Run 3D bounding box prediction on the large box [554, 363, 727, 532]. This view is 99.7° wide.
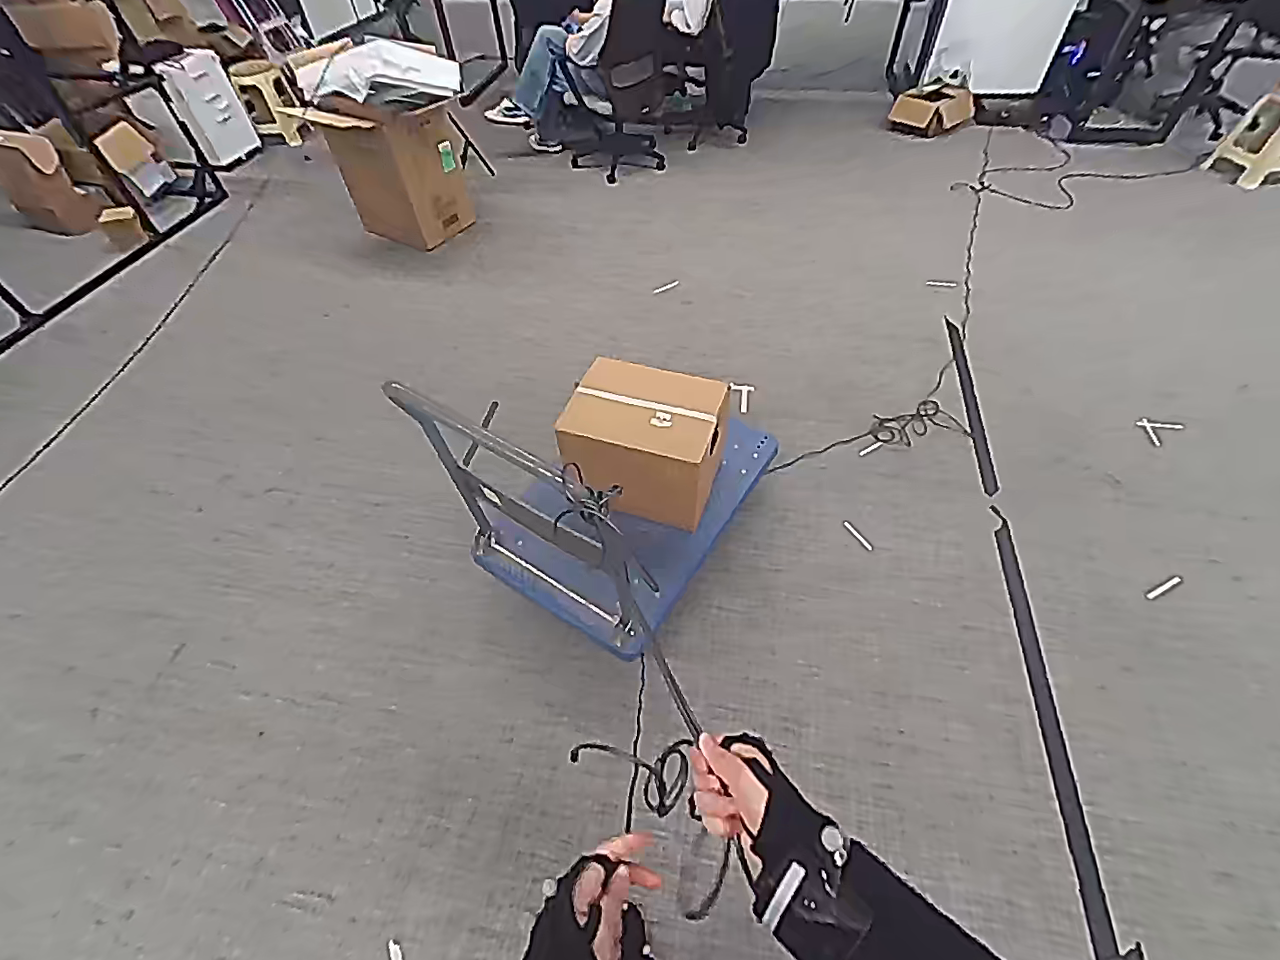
[{"bbox_3d":[0.010,-0.094,1.573,0.408,0.320,0.320,15,54,13],"label":"large box"}]
